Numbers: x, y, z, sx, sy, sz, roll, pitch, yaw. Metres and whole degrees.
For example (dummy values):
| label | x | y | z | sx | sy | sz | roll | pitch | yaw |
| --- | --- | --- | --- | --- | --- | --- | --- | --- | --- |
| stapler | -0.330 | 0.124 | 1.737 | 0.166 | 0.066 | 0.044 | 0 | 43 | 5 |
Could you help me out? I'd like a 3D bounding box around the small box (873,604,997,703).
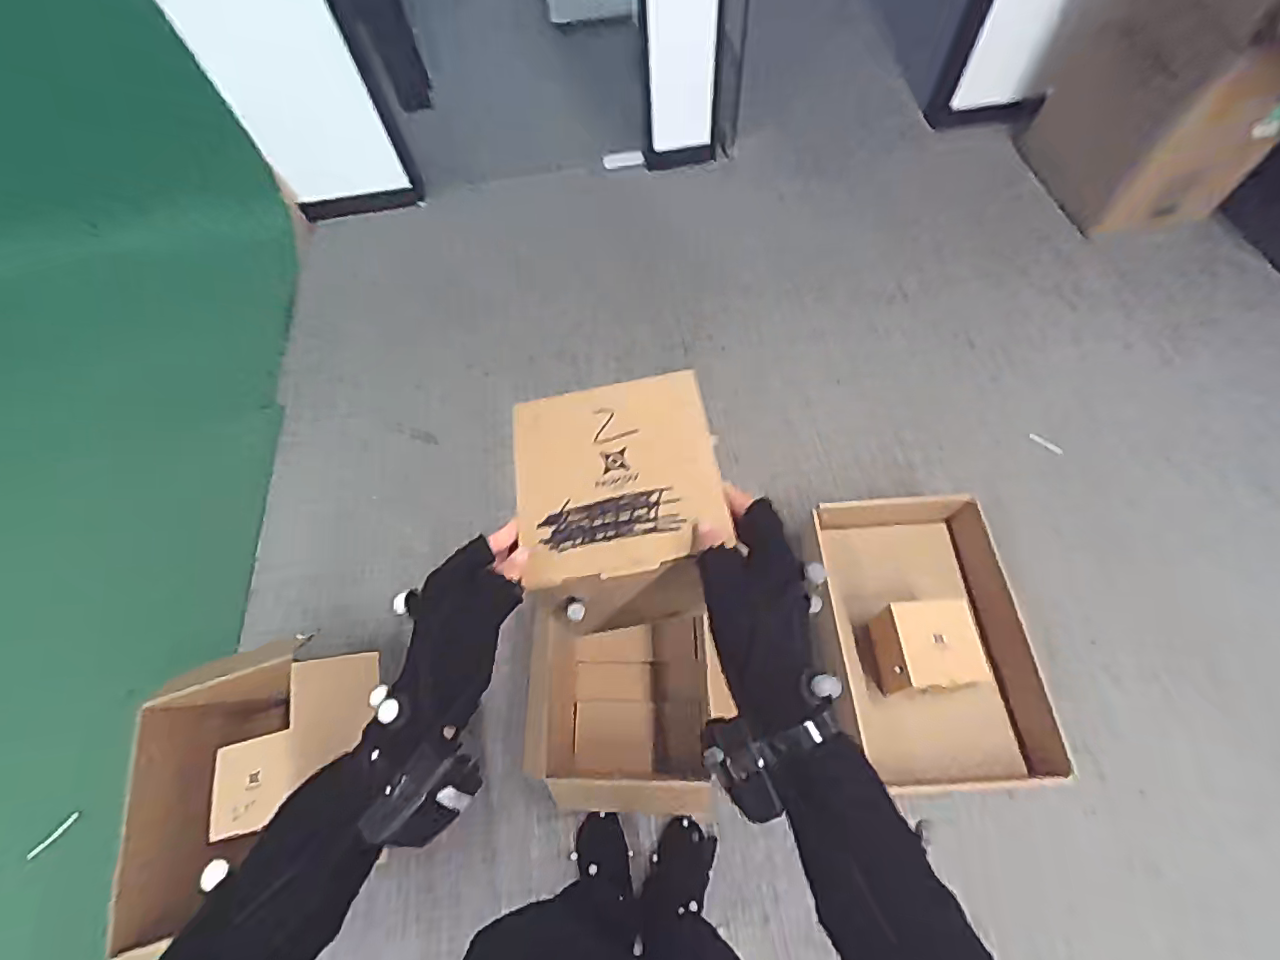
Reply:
| label | x | y | z | sx | sy | sz | roll | pitch | yaw |
| --- | --- | --- | --- | --- | --- | --- | --- | --- | --- |
| small box | 0.638 | 0.387 | 1.197 | 0.168 | 0.176 | 0.179 | -4 | 62 | 1 |
